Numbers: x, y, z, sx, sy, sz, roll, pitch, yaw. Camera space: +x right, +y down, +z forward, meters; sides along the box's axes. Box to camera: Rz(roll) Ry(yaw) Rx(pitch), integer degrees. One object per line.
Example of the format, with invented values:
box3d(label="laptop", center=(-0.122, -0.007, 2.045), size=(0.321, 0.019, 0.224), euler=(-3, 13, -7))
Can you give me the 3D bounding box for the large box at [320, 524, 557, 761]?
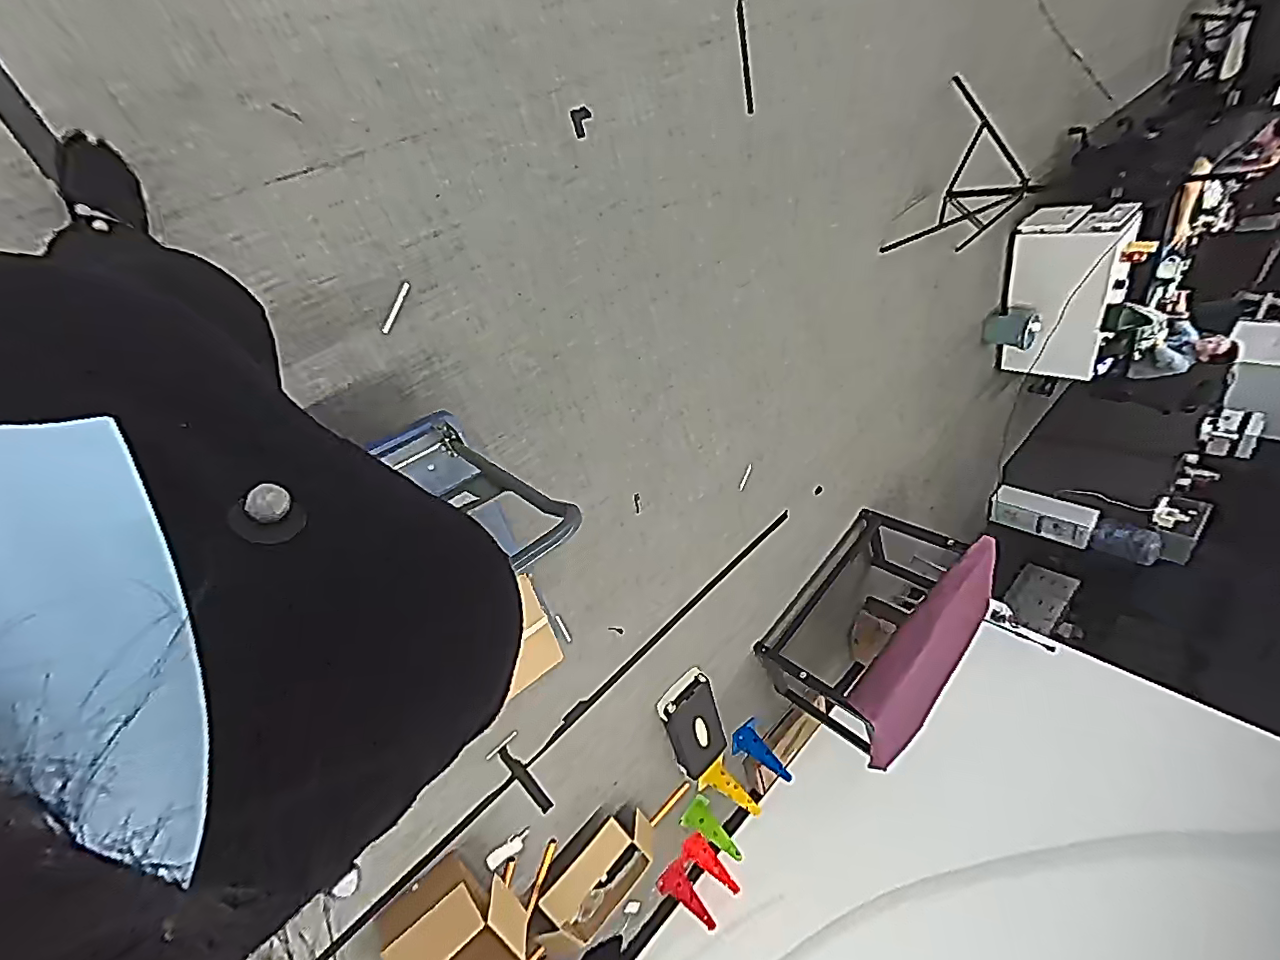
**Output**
box3d(label="large box", center=(-0.489, 0.375, 1.340), size=(0.408, 0.320, 0.320), euler=(-34, 127, -29))
